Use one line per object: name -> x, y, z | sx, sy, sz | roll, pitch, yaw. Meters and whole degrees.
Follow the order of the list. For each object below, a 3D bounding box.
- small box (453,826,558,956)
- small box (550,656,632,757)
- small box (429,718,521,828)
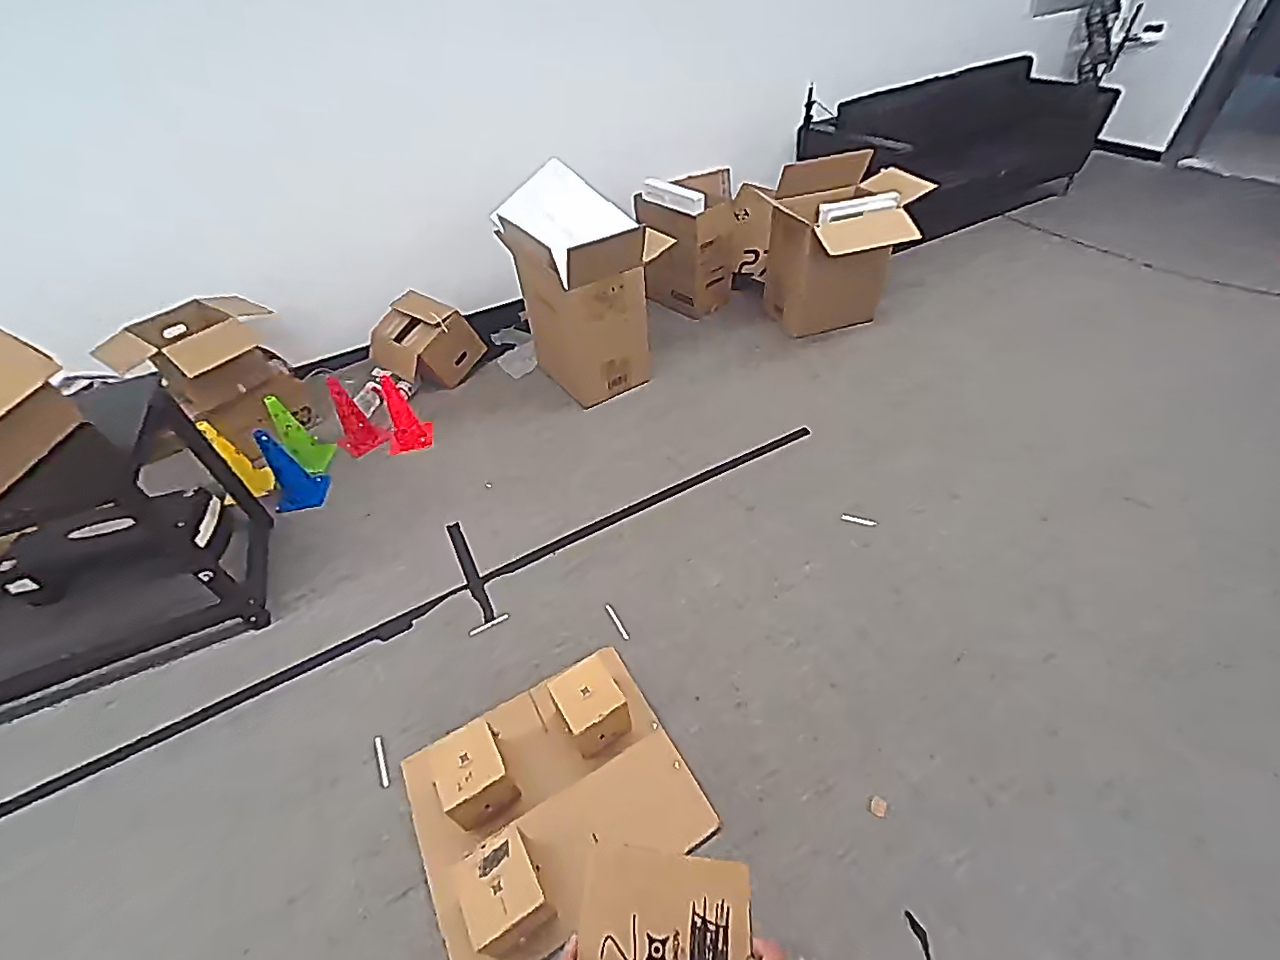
small box -> -0.309, 0.956, 1.256 | 0.168, 0.176, 0.179 | -26, 49, -19
small box -> -0.139, 0.653, 1.556 | 0.168, 0.176, 0.179 | -28, 49, -21
small box -> -0.436, 0.783, 1.443 | 0.168, 0.176, 0.179 | -26, 48, -18
